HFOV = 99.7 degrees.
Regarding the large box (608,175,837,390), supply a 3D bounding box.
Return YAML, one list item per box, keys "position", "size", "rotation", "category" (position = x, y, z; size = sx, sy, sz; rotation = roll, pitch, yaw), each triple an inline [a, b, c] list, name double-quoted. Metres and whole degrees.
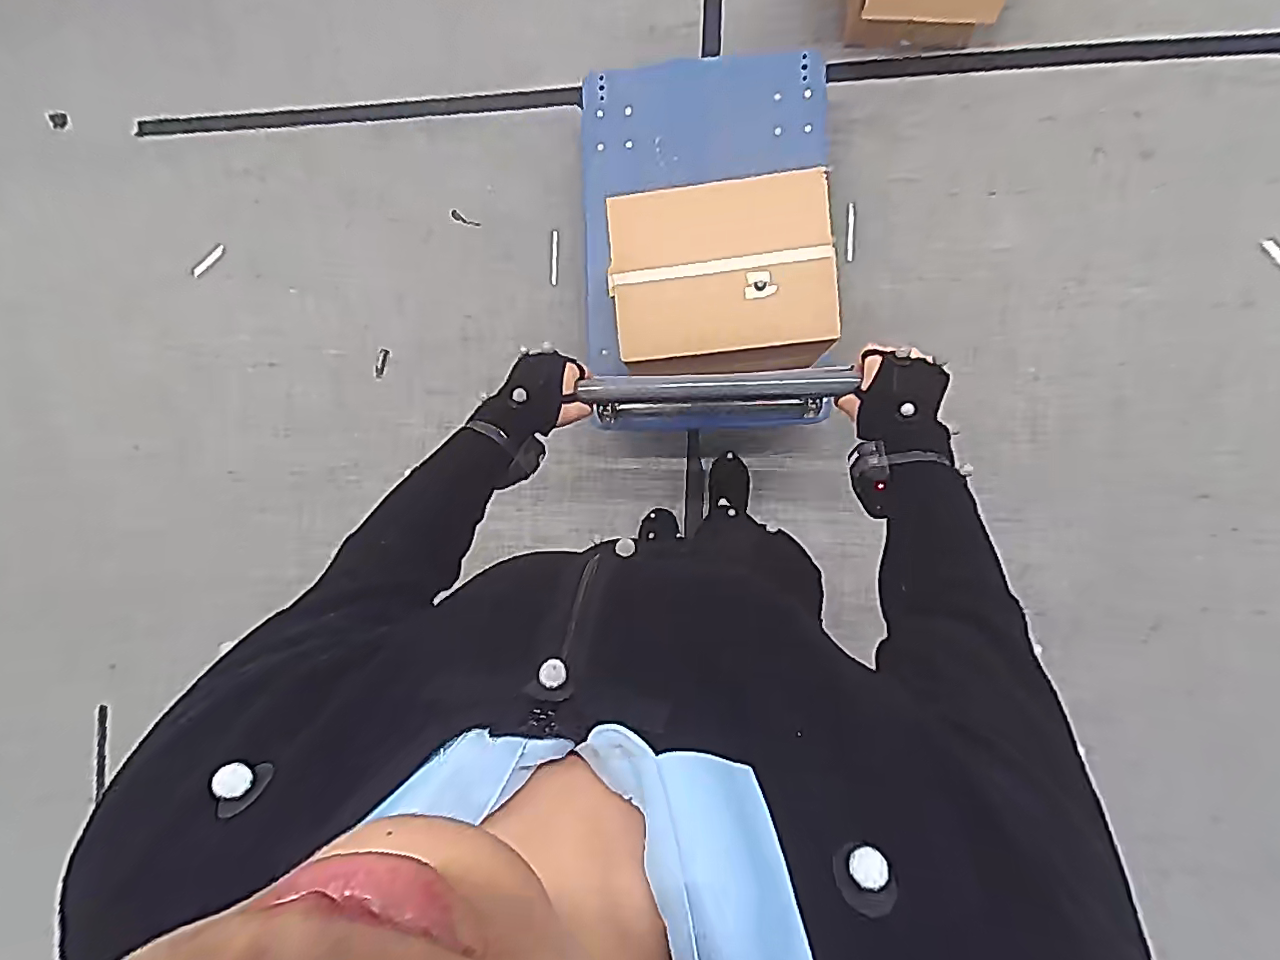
- position: [0.162, -0.388, 1.152]
  size: [0.408, 0.320, 0.320]
  rotation: [-5, 91, 5]
  category: "large box"
